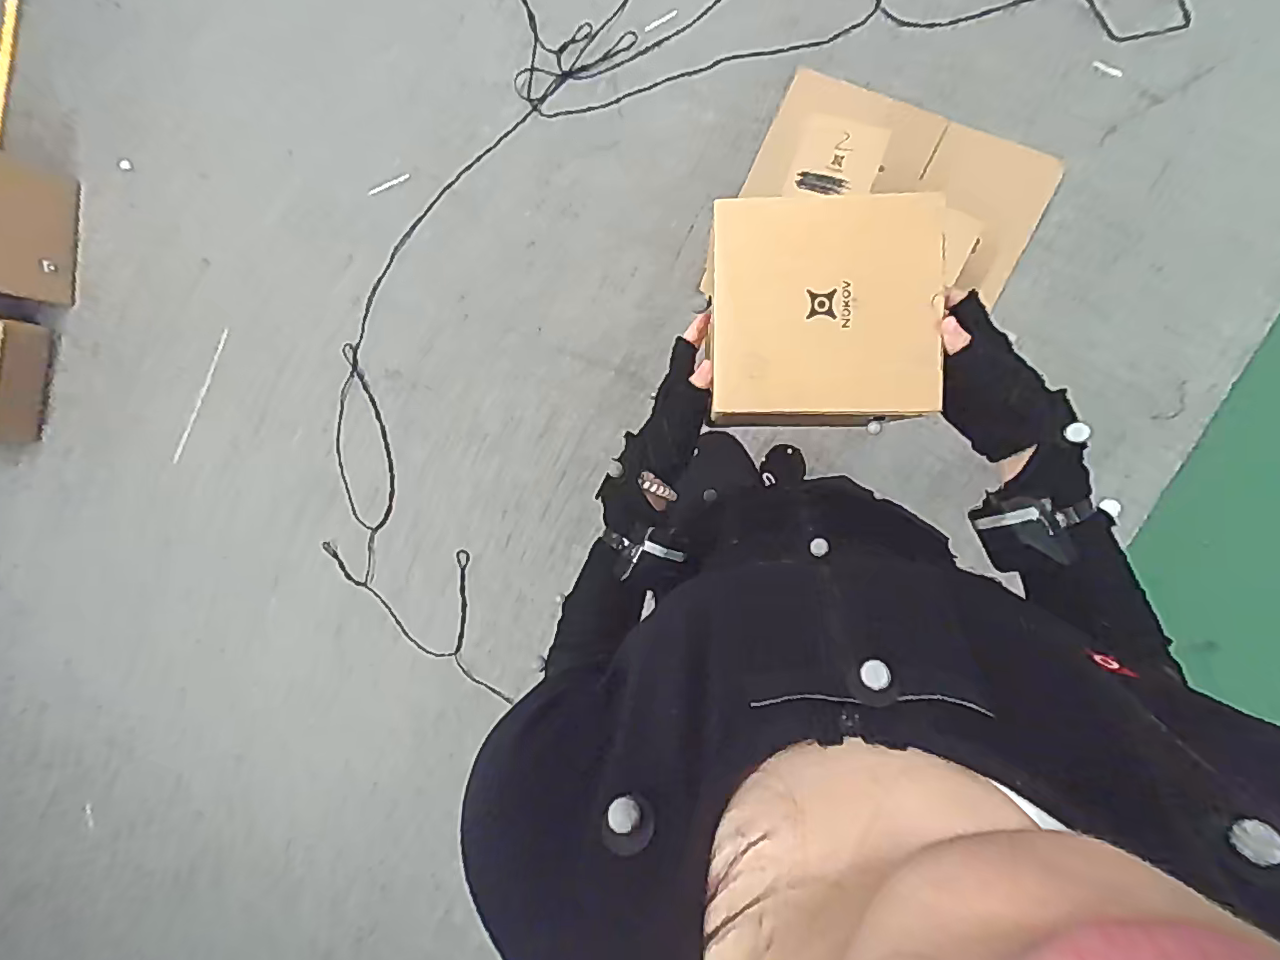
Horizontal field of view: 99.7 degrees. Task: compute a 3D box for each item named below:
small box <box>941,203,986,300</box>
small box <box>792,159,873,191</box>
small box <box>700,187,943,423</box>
[{"bbox_3d":[0.661,-0.525,1.271,0.168,0.176,0.179,26,97,10],"label":"small box"},{"bbox_3d":[0.433,-0.626,1.305,0.168,0.176,0.179,22,96,9],"label":"small box"},{"bbox_3d":[0.145,-0.140,0.491,0.179,0.176,0.168,0,92,3],"label":"small box"}]
